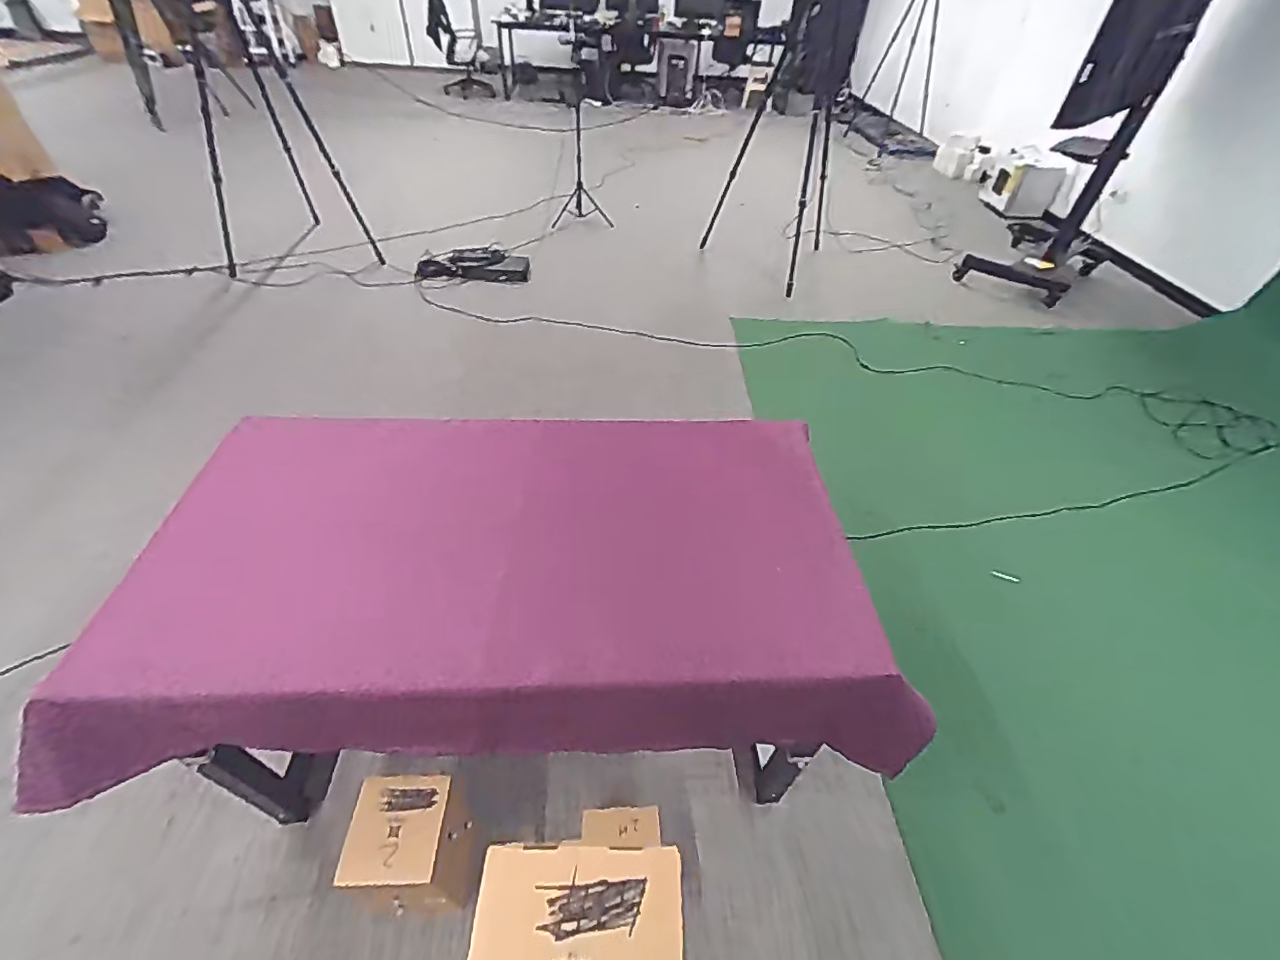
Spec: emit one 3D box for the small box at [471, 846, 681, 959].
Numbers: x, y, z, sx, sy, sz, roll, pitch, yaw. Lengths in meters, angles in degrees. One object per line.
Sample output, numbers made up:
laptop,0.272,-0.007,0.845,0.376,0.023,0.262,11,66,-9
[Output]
small box,-0.048,0.438,0.465,0.168,0.176,0.179,-1,45,3
